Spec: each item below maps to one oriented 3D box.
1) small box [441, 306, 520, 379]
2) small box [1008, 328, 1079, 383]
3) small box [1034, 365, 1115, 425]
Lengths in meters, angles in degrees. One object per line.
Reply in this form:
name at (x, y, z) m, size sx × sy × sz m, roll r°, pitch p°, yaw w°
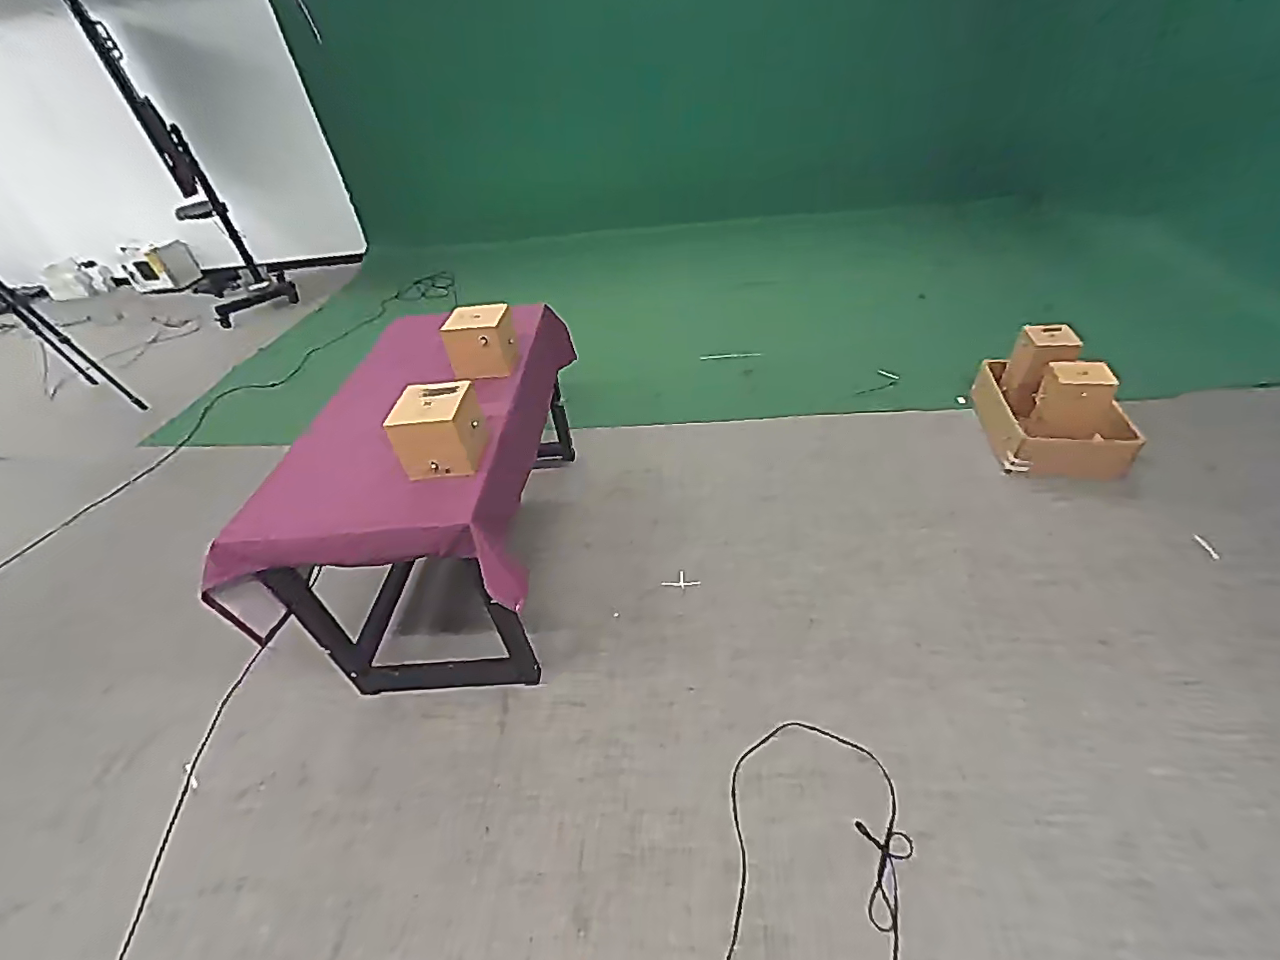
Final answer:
small box at (-0.491, -0.431, 1.701) m, size 0.179 × 0.176 × 0.168 m, roll -3°, pitch 40°, yaw 7°
small box at (1.679, -0.519, 2.261) m, size 0.168 × 0.176 × 0.179 m, roll 3°, pitch 42°, yaw 11°
small box at (1.632, -0.319, 2.040) m, size 0.179 × 0.176 × 0.168 m, roll 5°, pitch 41°, yaw 18°
